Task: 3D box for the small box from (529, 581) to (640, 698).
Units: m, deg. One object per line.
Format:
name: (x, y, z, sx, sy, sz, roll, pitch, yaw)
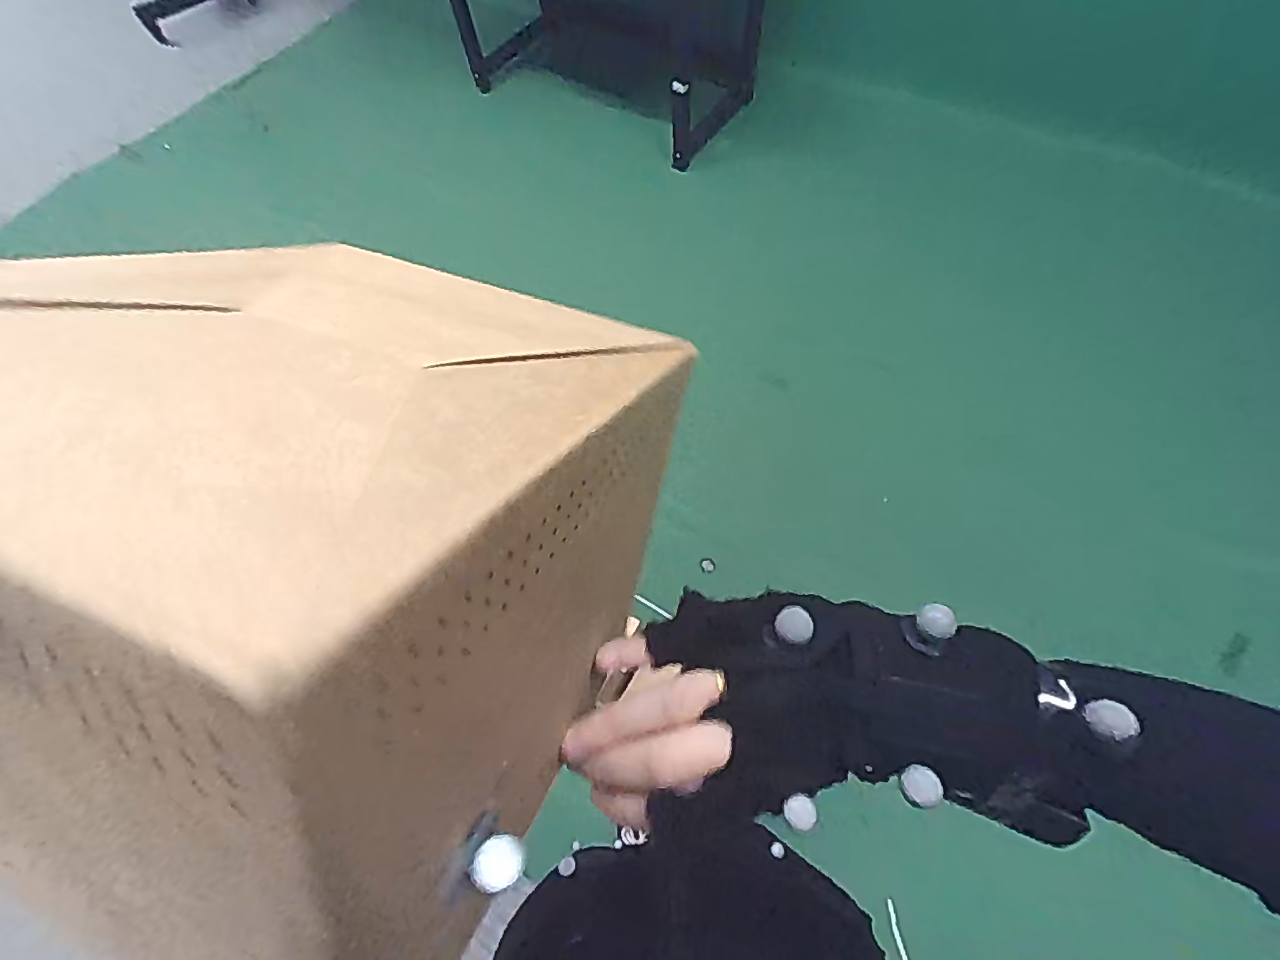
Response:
small box: (-0.110, 0.349, 1.168, 0.168, 0.176, 0.179, 25, 69, 15)
